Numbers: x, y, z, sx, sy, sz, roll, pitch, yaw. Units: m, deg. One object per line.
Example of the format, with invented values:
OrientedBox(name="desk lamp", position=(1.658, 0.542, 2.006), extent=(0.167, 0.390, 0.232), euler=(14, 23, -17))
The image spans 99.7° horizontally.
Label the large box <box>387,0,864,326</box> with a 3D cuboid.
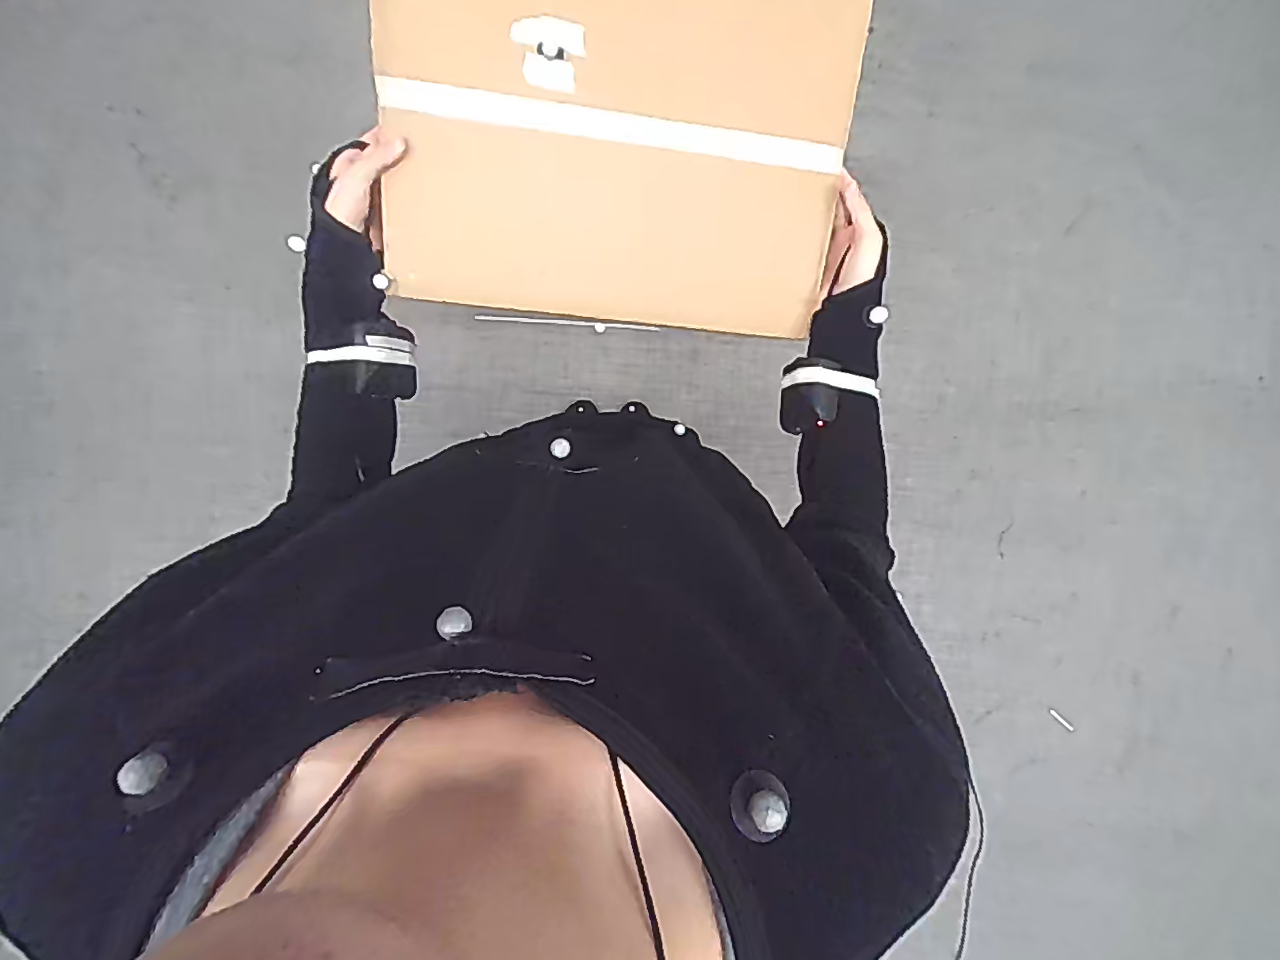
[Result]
OrientedBox(name="large box", position=(-0.028, -0.358, 0.618), extent=(0.408, 0.320, 0.320), euler=(4, 107, -8))
